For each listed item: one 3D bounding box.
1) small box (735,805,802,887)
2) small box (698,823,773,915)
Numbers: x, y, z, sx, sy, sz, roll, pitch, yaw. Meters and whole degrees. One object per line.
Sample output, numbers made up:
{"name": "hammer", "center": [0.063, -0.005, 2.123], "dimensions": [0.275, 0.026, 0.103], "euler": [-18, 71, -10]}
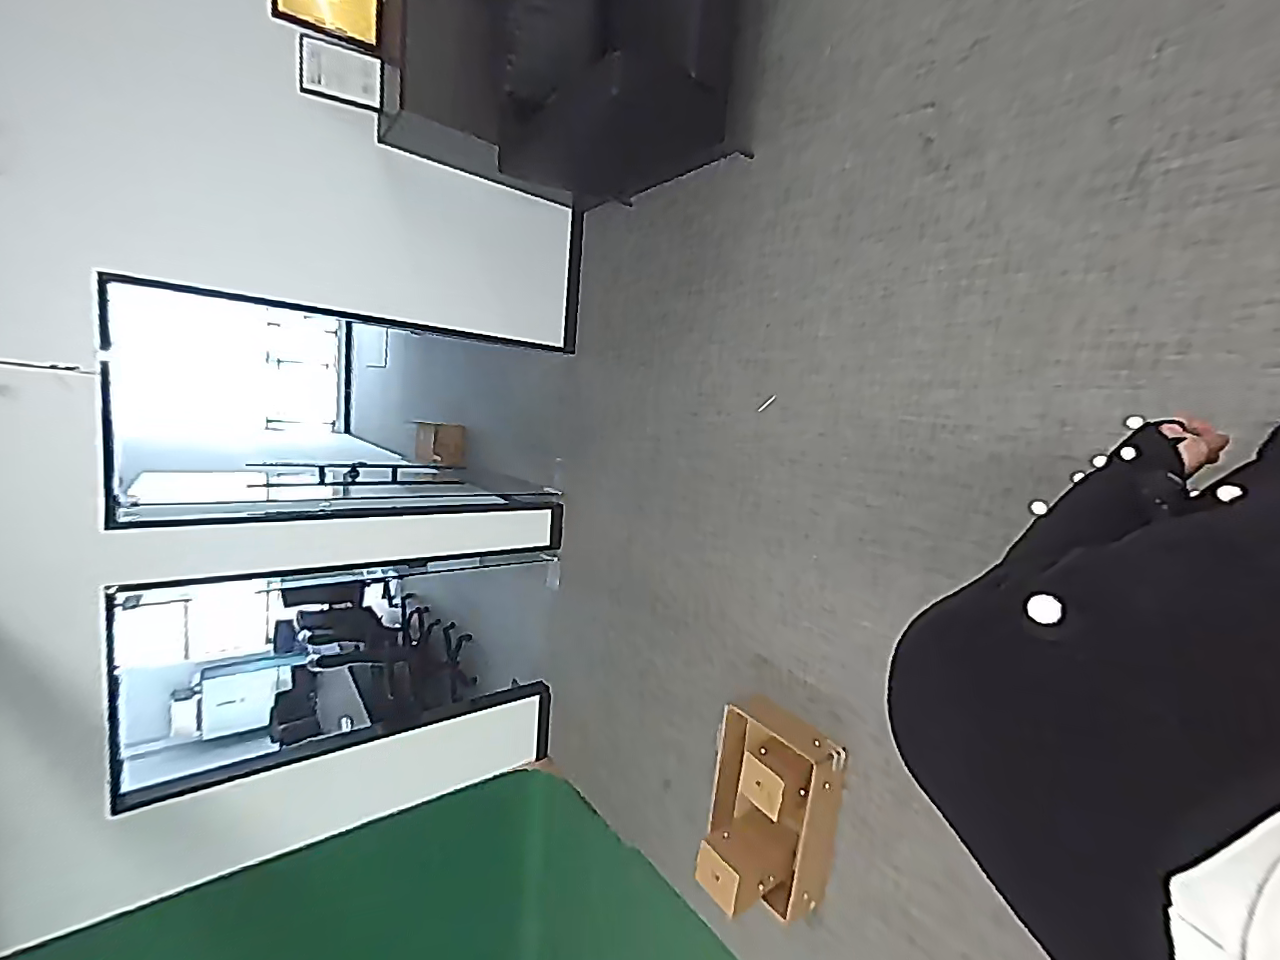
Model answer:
{"name": "small box", "center": [0.454, 1.321, 1.962], "dimensions": [0.179, 0.176, 0.168], "euler": [19, 106, 51]}
{"name": "small box", "center": [0.328, 1.323, 1.859], "dimensions": [0.179, 0.176, 0.168], "euler": [18, 105, 50]}
